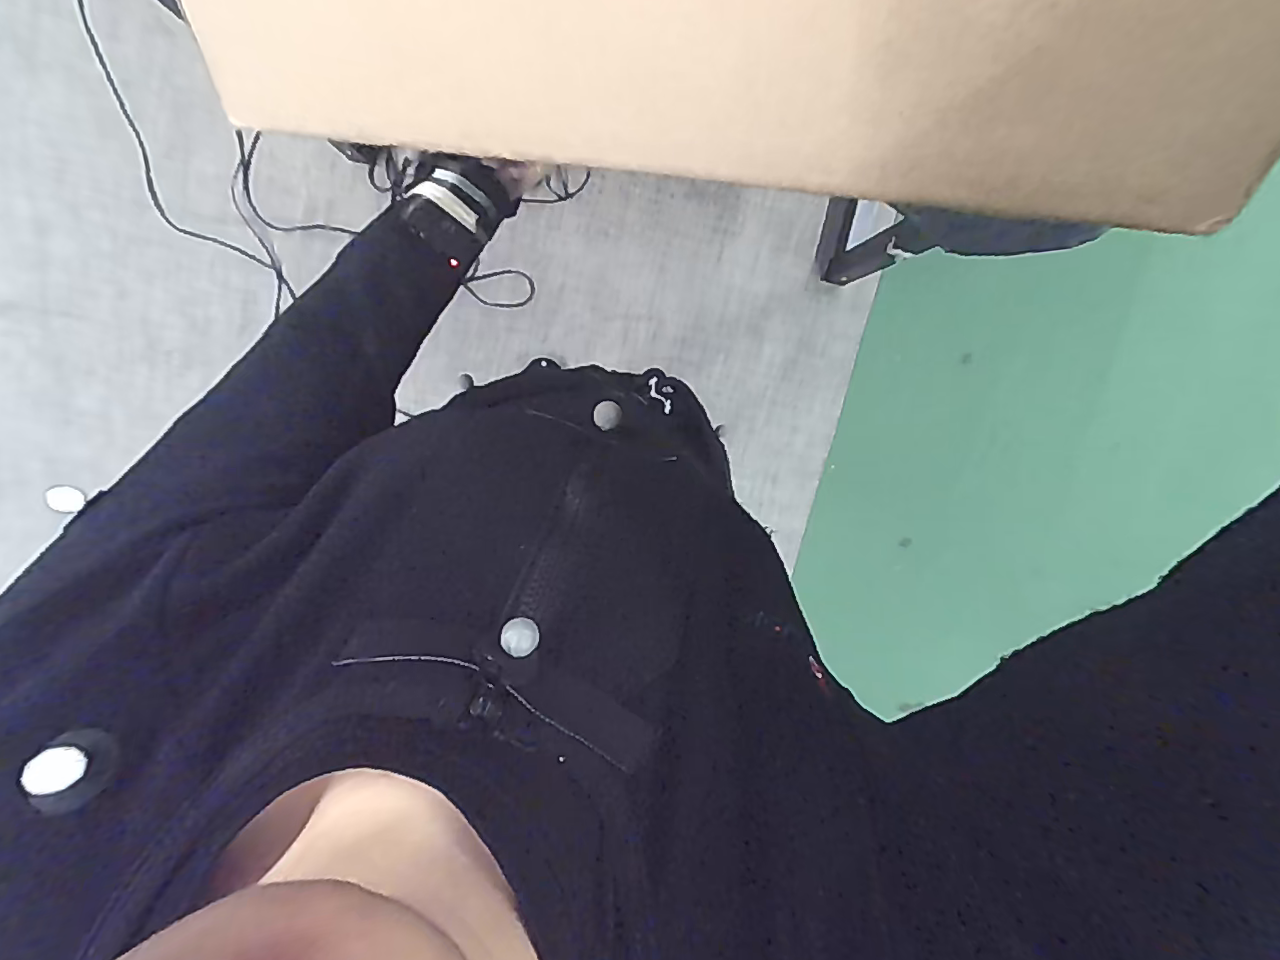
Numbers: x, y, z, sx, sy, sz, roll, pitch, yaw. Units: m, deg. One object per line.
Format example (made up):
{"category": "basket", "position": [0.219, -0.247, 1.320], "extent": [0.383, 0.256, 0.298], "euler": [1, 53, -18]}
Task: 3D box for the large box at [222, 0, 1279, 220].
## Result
{"category": "large box", "position": [0.048, -0.329, 0.231], "extent": [0.408, 0.320, 0.320], "euler": [13, 133, 16]}
